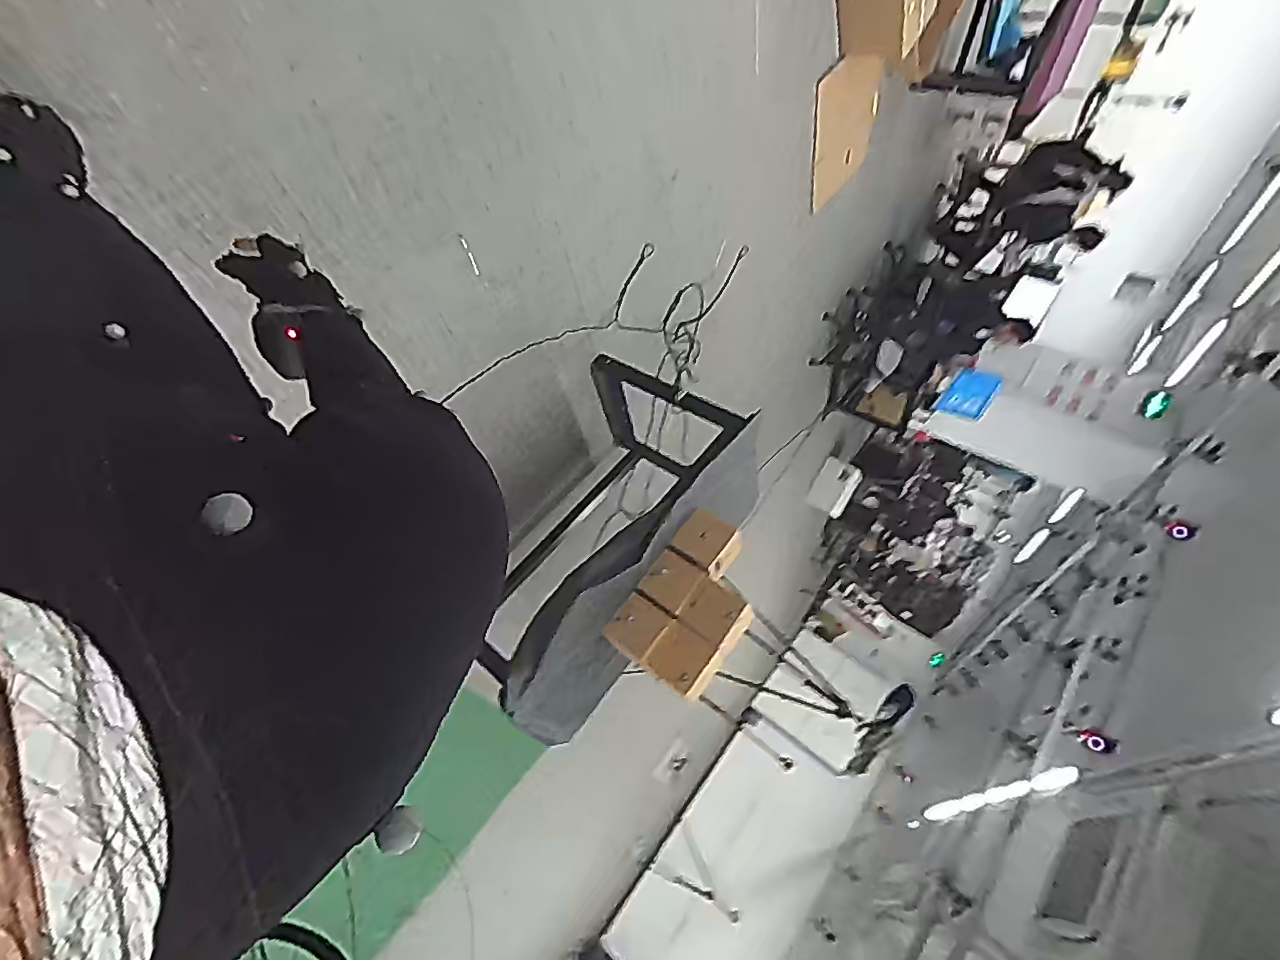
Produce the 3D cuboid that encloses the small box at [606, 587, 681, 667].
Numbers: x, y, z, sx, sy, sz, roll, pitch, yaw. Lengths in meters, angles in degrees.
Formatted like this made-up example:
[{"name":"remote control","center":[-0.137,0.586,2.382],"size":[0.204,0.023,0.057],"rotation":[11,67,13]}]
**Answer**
[{"name":"small box","center":[0.012,0.481,1.782],"size":[0.168,0.176,0.179],"rotation":[-50,150,-20]}]
